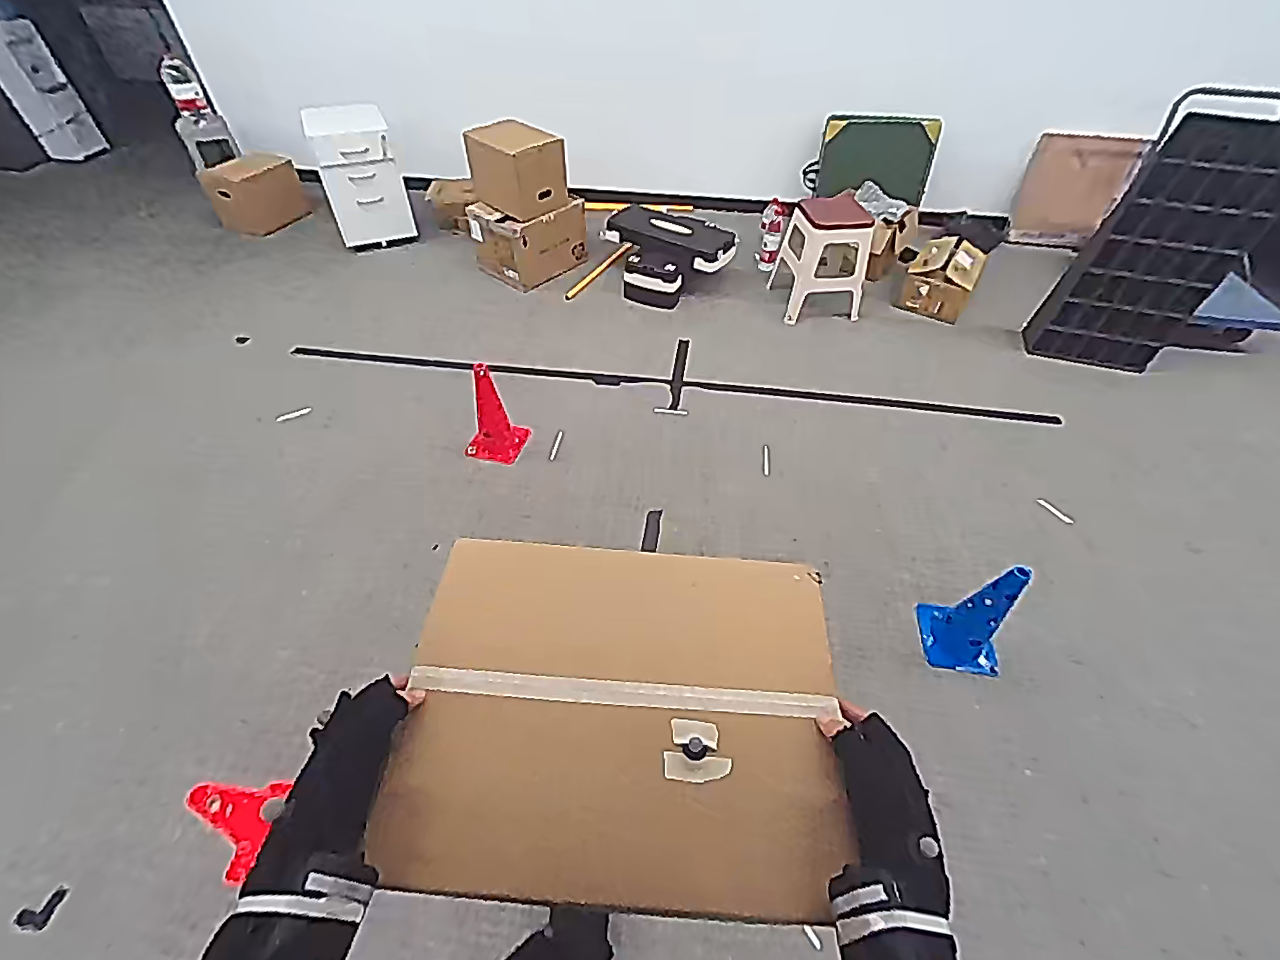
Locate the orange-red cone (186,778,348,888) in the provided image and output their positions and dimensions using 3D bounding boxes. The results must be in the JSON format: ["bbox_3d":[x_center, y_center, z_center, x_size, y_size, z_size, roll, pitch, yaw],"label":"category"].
[{"bbox_3d":[-0.788,0.680,1.094,0.198,0.360,0.199,4,49,4],"label":"orange-red cone"}]

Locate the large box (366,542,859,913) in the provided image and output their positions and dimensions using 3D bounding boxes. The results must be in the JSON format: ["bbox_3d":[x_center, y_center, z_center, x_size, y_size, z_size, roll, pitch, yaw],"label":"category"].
[{"bbox_3d":[-0.022,0.296,0.635,0.408,0.320,0.320,5,51,0],"label":"large box"}]

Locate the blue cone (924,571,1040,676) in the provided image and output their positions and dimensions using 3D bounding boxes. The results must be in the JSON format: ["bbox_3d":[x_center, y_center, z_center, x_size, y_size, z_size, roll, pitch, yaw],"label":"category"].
[{"bbox_3d":[0.936,0.358,1.450,0.192,0.380,0.193,10,48,6],"label":"blue cone"}]

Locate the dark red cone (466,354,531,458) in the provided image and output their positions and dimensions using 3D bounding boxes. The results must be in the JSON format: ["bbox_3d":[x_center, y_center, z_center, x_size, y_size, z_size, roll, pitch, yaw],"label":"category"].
[{"bbox_3d":[-0.531,-0.275,1.938,0.201,0.394,0.202,12,49,8],"label":"dark red cone"}]
